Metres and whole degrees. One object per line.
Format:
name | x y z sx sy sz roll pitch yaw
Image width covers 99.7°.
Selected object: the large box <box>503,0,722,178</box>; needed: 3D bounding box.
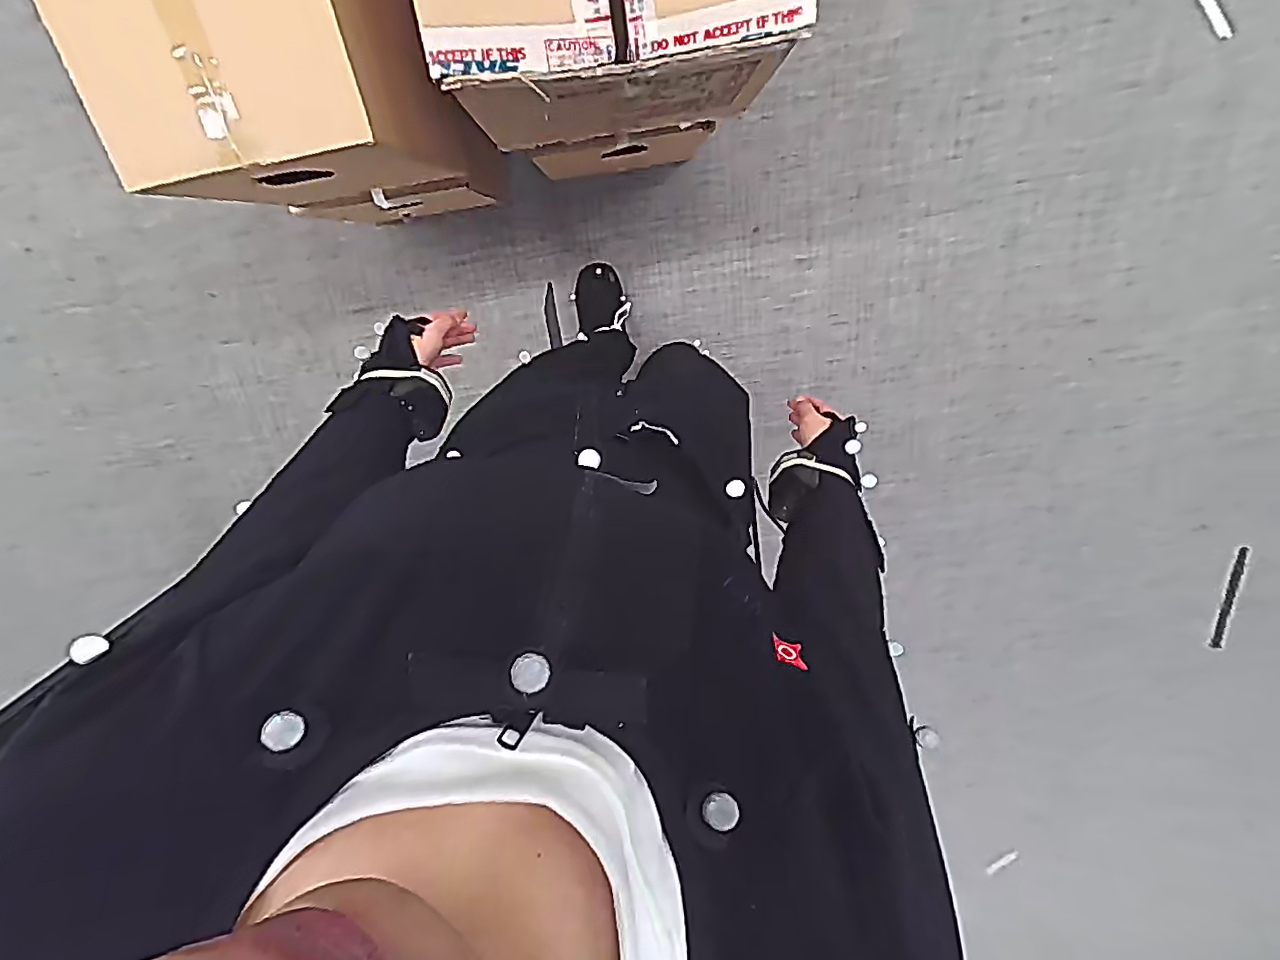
large box | -0.057 -0.791 0.941 0.320 0.320 0.408 -9 113 2
